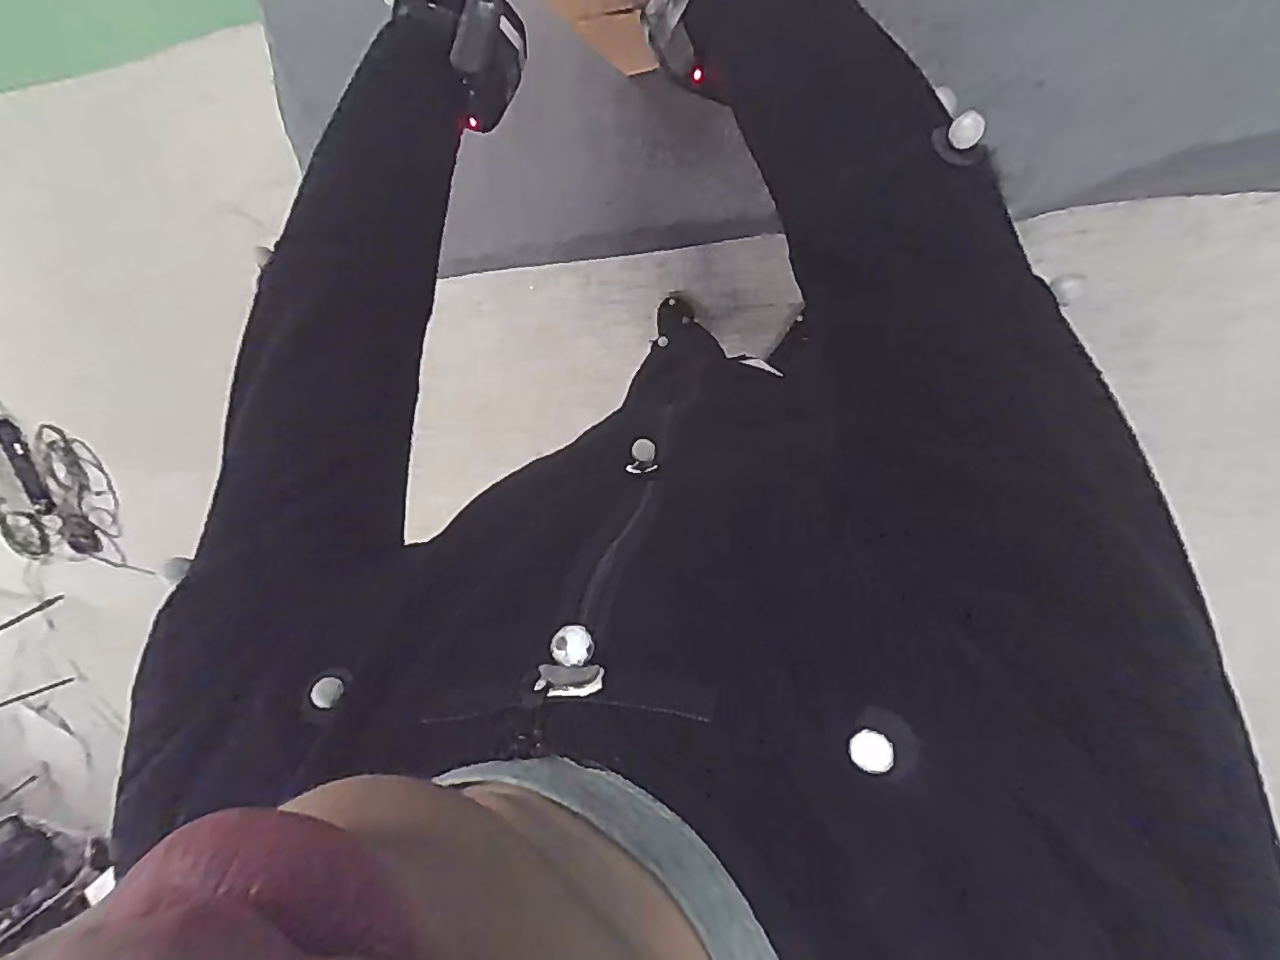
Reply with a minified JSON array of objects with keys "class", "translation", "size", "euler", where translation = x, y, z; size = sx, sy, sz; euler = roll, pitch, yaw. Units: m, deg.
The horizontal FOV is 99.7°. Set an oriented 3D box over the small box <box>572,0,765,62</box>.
[{"class":"small box","translation":[0.029,-0.532,0.515],"size":[0.168,0.176,0.179],"euler":[-1,112,17]}]
